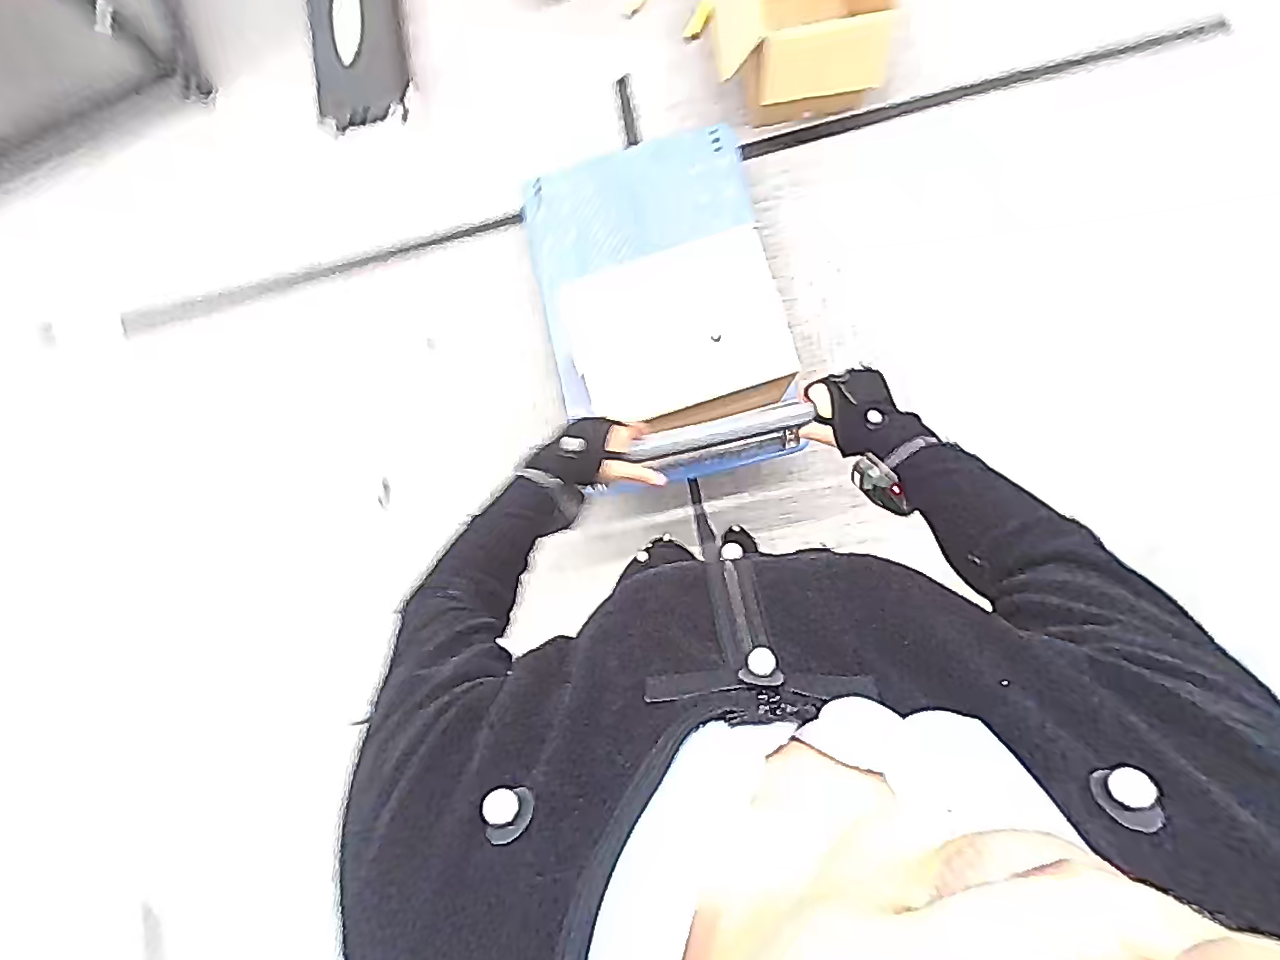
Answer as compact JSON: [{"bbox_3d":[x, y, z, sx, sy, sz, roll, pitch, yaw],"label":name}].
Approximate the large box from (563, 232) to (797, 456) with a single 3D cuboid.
[{"bbox_3d":[0.087,-0.276,1.219,0.408,0.320,0.320,-18,84,4],"label":"large box"}]
